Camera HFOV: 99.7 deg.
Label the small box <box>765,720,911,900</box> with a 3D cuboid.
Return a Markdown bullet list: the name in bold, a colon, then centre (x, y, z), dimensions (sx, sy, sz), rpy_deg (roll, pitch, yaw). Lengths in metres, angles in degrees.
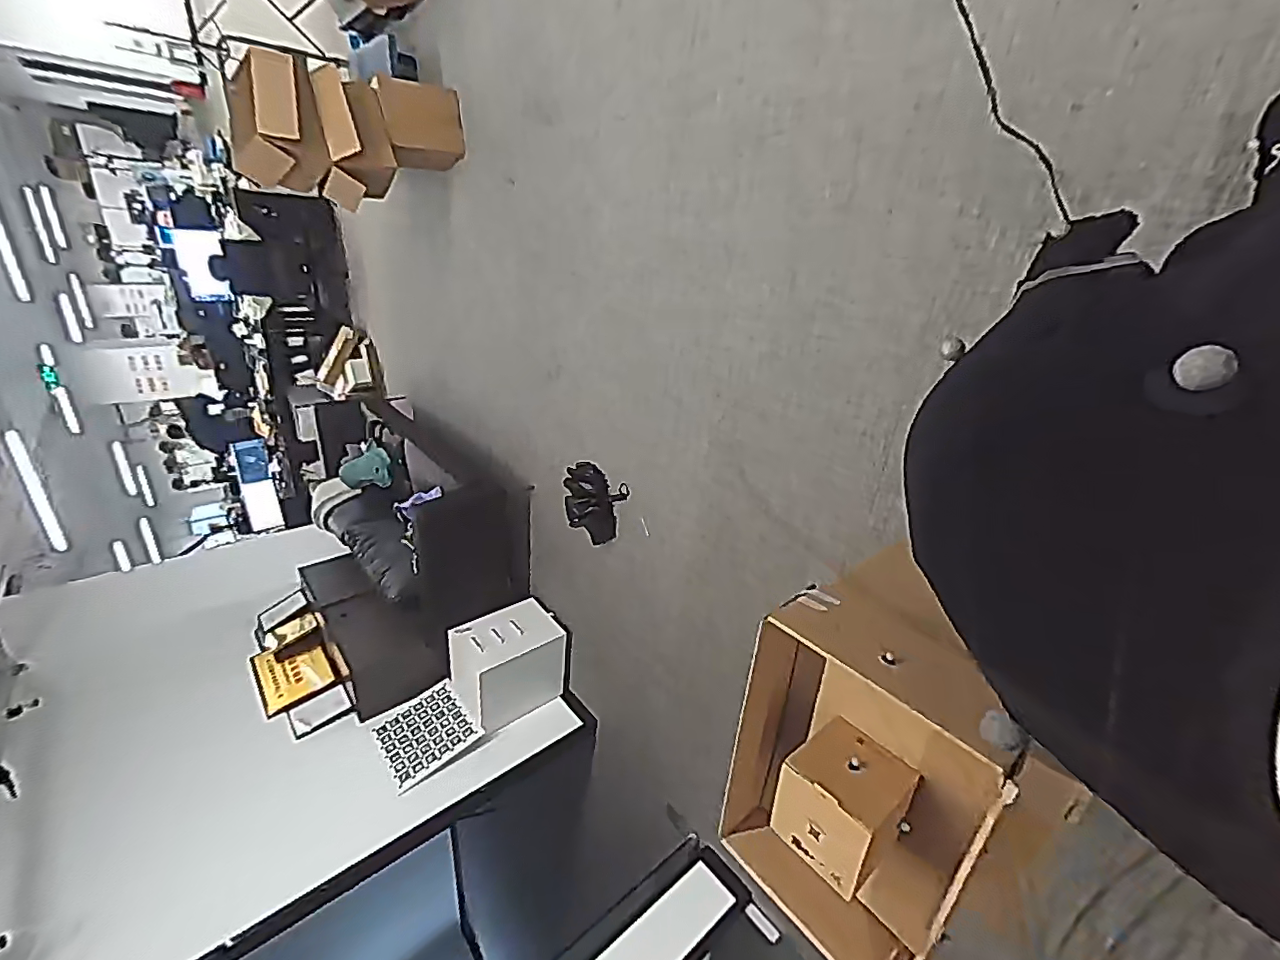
- **small box**: centre (0.351, 0.568, 0.956), dimensions (0.168, 0.176, 0.179), rpy_deg (28, 123, 44)
